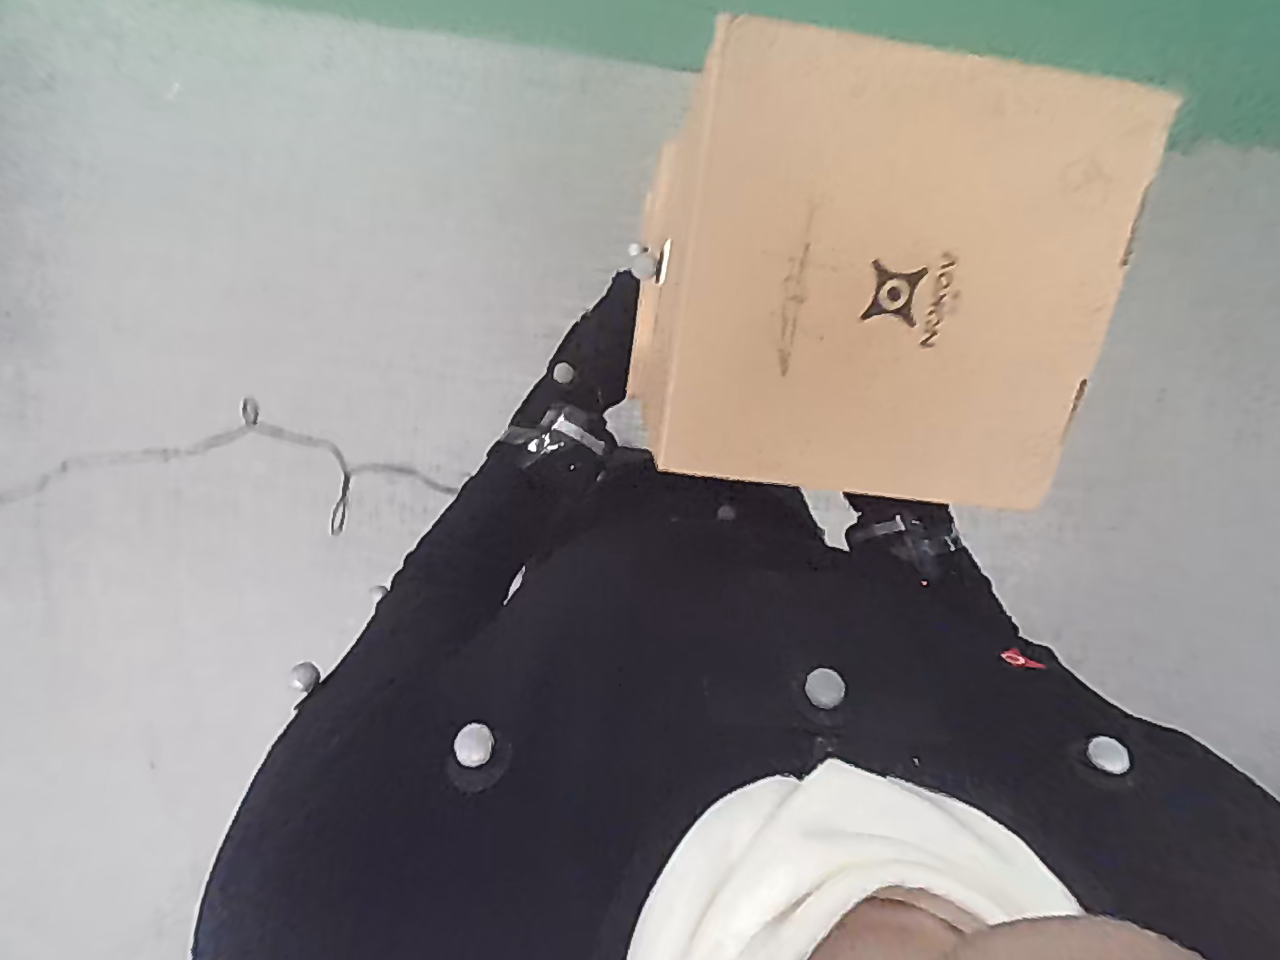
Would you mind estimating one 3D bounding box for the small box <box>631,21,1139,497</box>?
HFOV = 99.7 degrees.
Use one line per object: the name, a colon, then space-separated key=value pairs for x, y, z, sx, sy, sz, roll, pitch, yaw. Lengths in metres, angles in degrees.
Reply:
small box: x=0.089 y=-0.097 z=0.293 sx=0.179 sy=0.176 sz=0.168 roll=4 pitch=104 yaw=-3
